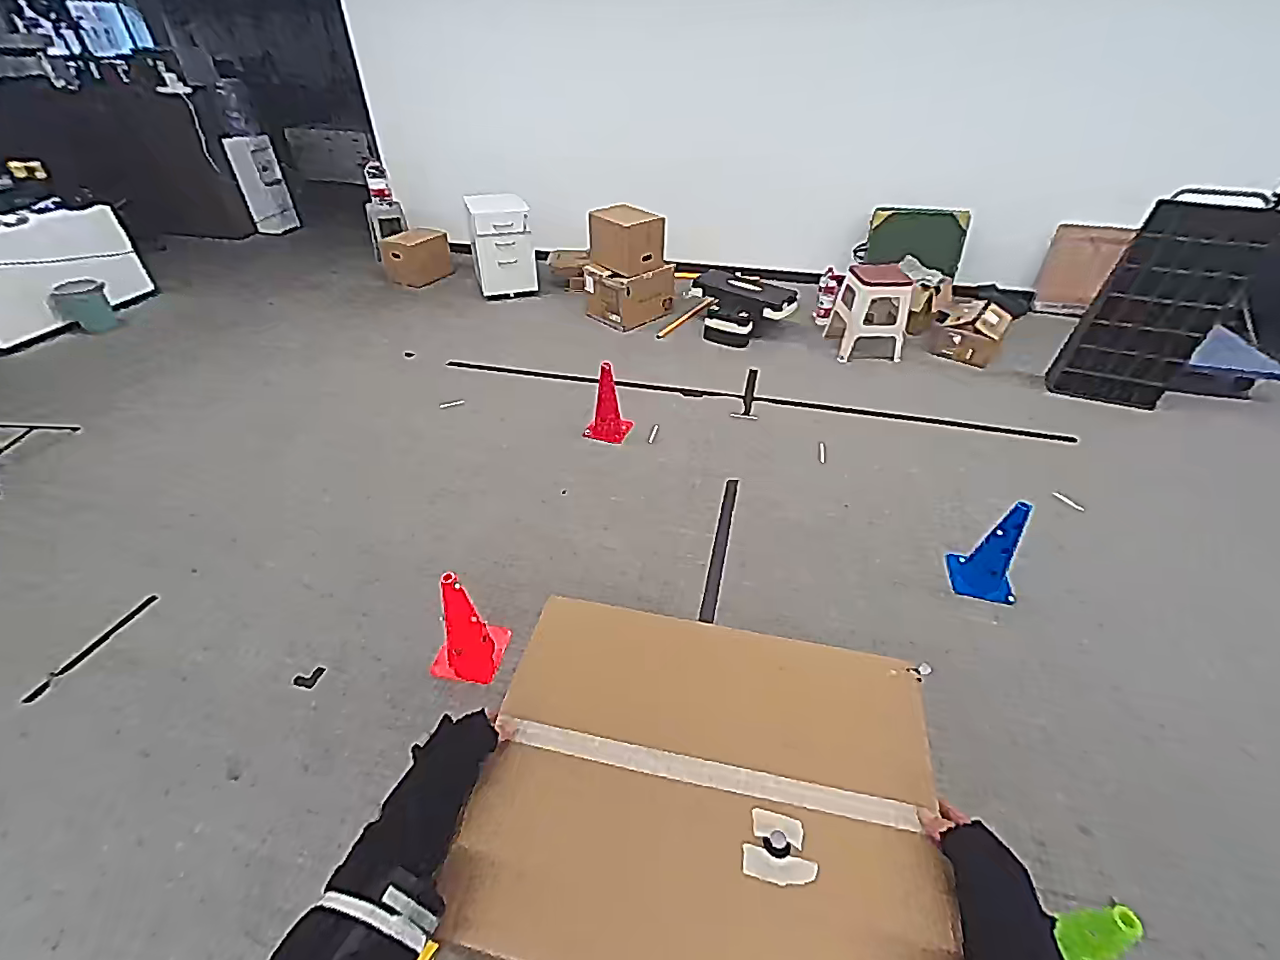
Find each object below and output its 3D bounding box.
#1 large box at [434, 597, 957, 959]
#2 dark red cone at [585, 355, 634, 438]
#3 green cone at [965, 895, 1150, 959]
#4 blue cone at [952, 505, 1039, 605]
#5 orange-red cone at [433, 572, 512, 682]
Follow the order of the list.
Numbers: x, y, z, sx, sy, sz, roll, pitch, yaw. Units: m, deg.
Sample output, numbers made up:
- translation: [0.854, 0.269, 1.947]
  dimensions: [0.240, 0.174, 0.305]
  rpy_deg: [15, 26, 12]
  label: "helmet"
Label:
- translation: [0.059, 0.374, 0.598]
  dimensions: [0.408, 0.320, 0.320]
  rpy_deg: [9, 43, 9]
  label: "large box"
- translation: [-0.142, -0.399, 2.537]
  dimensions: [0.201, 0.394, 0.202]
  rpy_deg: [14, 41, 14]
  label: "dark red cone"
- translation: [0.825, 0.882, 1.017]
  dimensions: [0.202, 0.368, 0.200]
  rpy_deg: [-14, 42, -20]
  label: "green cone"
- translation: [1.241, 0.234, 1.848]
  dimensions: [0.192, 0.380, 0.193]
  rpy_deg: [12, 41, 12]
  label: "blue cone"
- translation: [-0.521, 0.401, 1.584]
  dimensions: [0.198, 0.360, 0.199]
  rpy_deg: [7, 41, 9]
  label: "orange-red cone"
